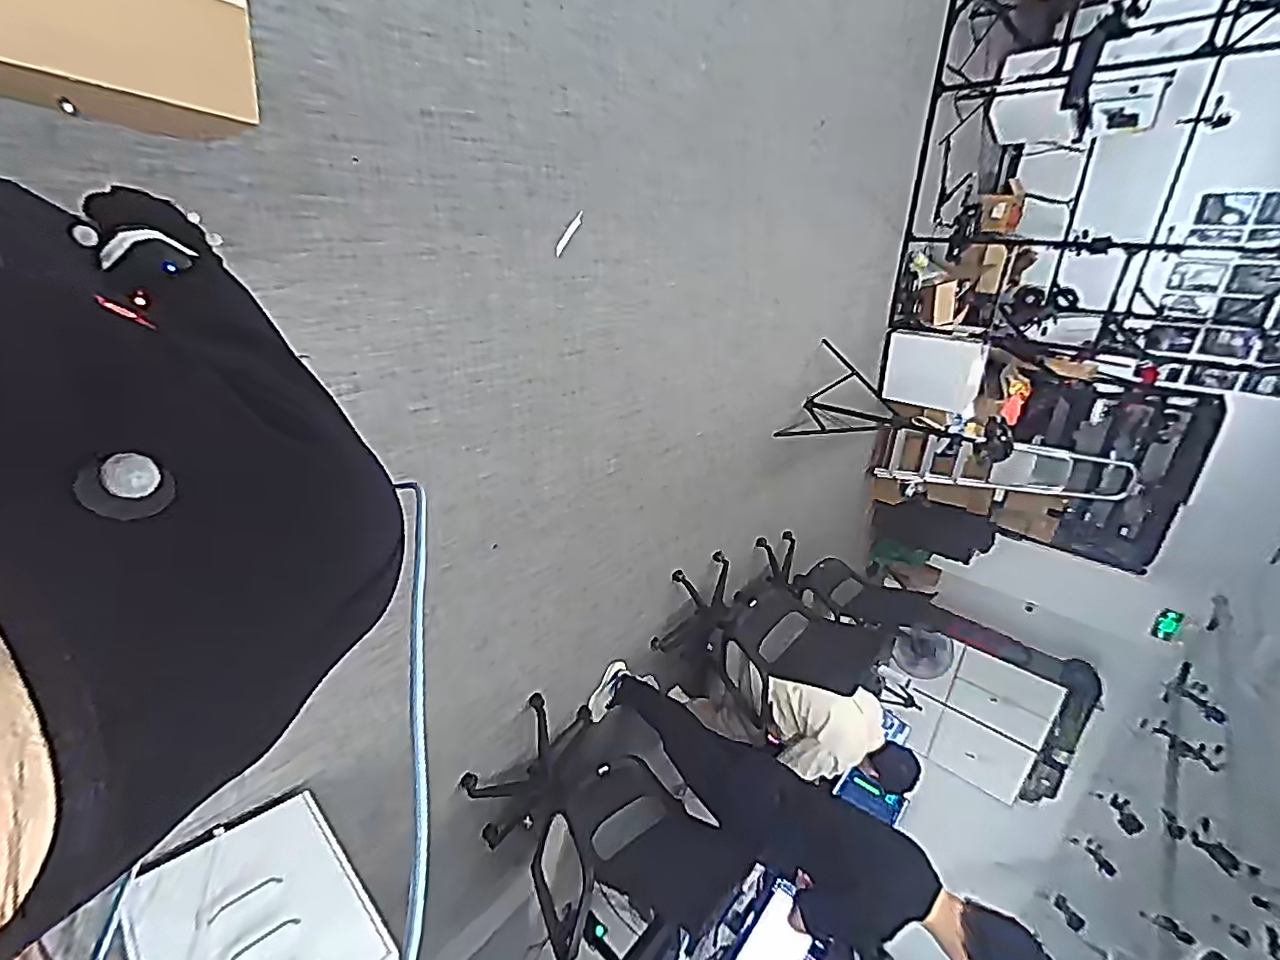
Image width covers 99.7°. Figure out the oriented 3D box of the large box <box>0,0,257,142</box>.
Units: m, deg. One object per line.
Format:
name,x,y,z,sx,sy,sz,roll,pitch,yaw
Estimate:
large box,-0.826,-0.697,0.736,0.408,0.320,0.320,-16,119,-47
